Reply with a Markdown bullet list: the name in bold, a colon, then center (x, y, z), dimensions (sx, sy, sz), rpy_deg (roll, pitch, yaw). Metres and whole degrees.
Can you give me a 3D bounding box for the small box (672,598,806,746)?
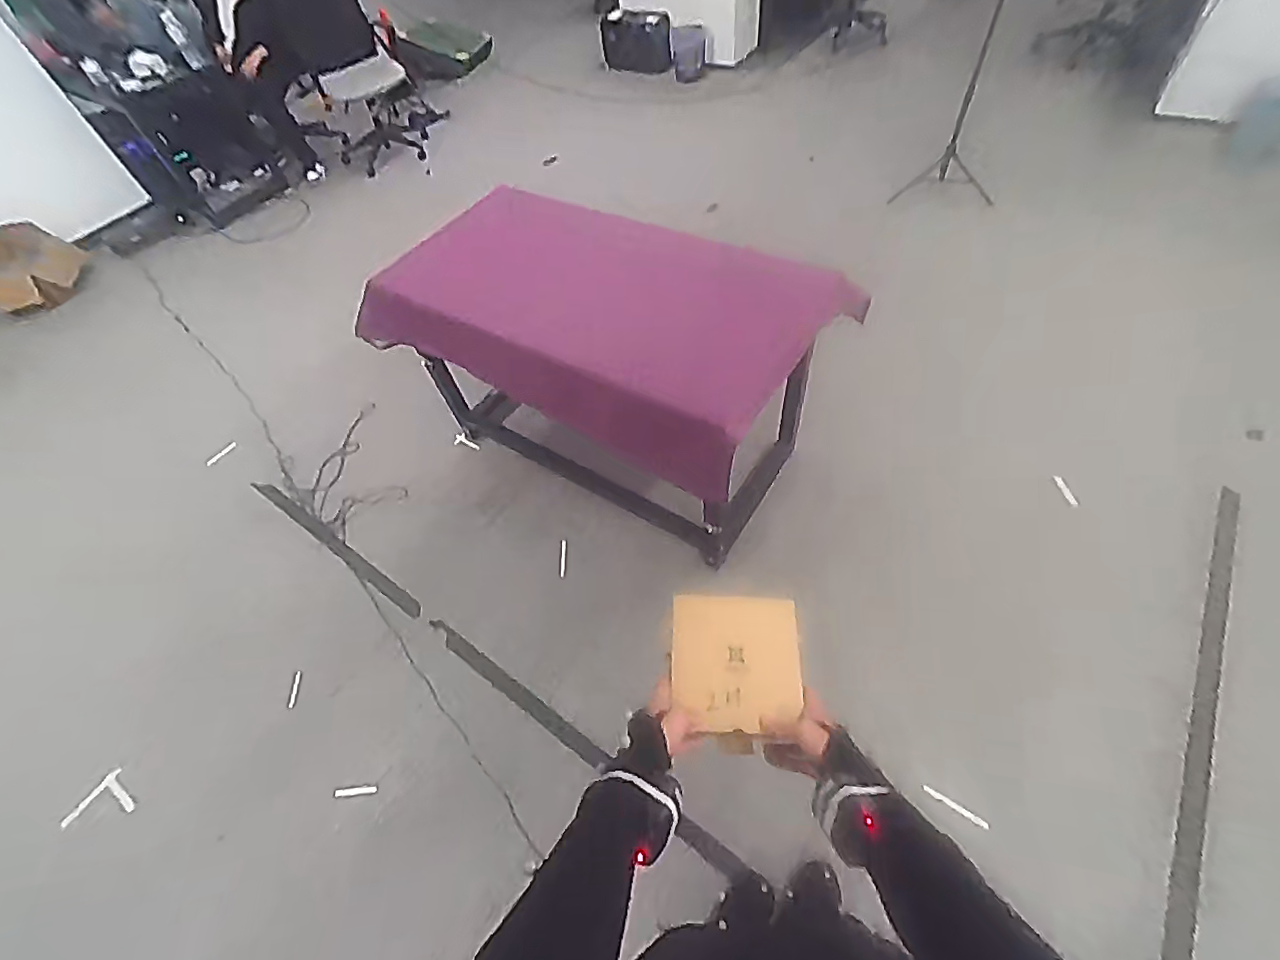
- **small box**: center (0.132, 0.279, 0.774), dimensions (0.168, 0.176, 0.179), rpy_deg (2, 65, 4)
